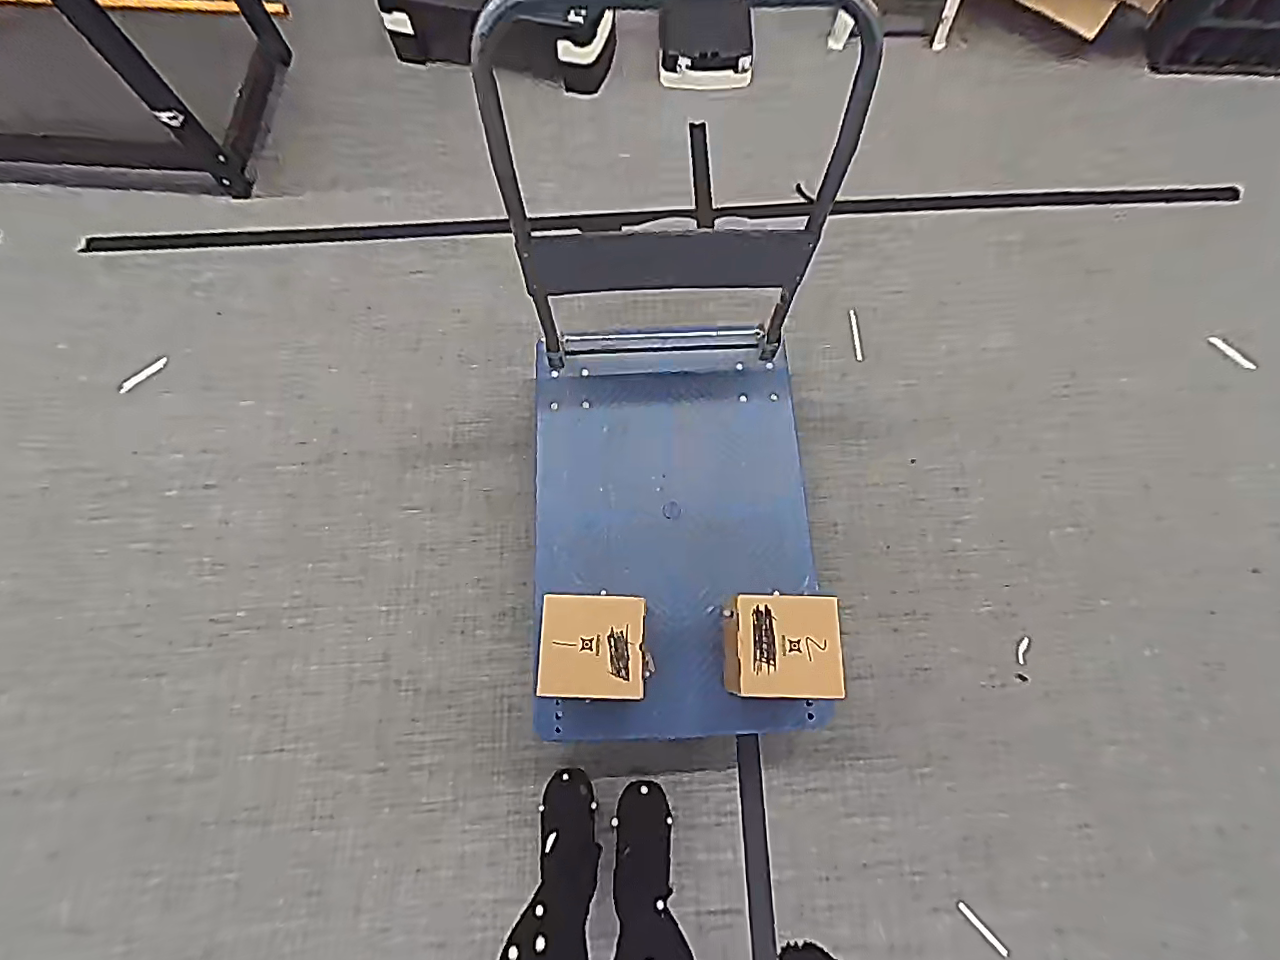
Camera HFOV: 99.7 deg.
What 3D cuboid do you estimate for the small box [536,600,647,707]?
[{"bbox_3d":[-0.080,0.308,0.977,0.179,0.176,0.168,2,73,1],"label":"small box"}]
